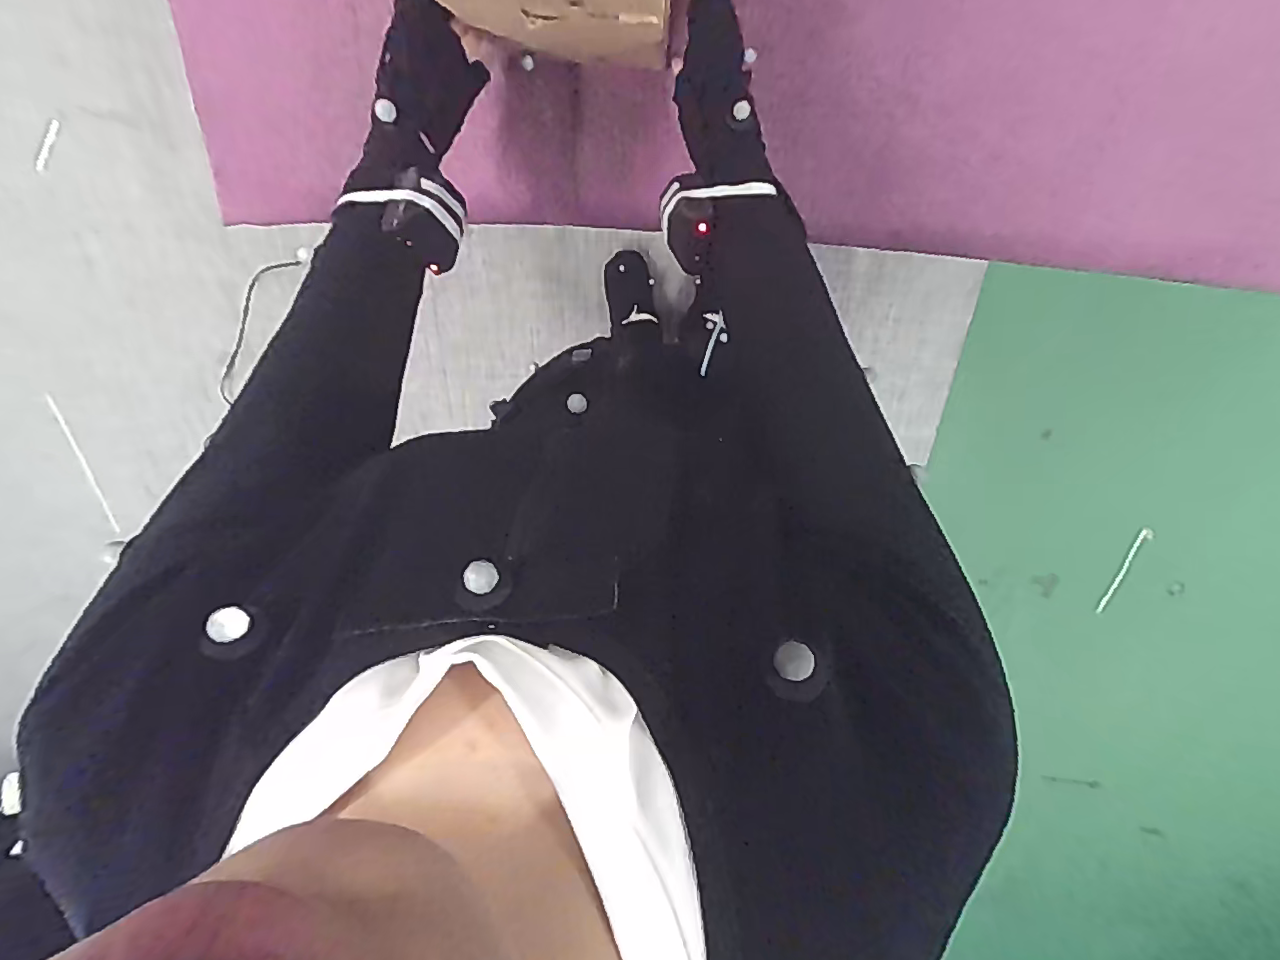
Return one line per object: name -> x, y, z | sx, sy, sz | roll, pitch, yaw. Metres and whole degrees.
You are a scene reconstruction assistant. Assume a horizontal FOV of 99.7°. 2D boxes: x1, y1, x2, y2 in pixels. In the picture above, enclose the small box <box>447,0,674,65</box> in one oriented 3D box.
small box -> -0.052, -0.458, 0.431 | 0.168, 0.176, 0.179 | 6, 117, 1
